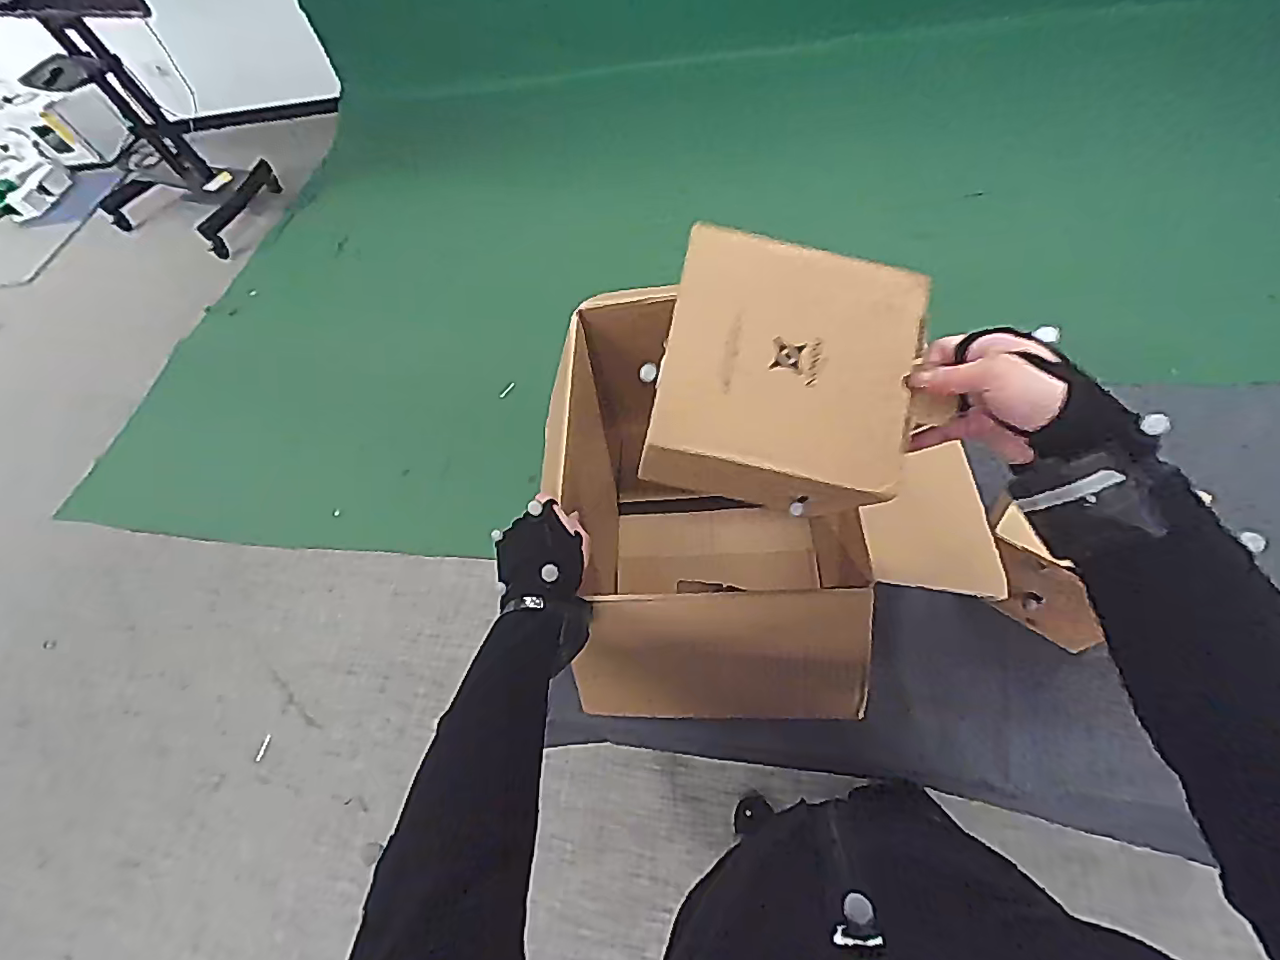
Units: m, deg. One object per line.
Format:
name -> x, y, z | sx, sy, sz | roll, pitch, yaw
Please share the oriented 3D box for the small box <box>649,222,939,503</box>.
small box -> 0.111, -0.079, 0.458 | 0.179, 0.176, 0.168 | 12, 82, 0
